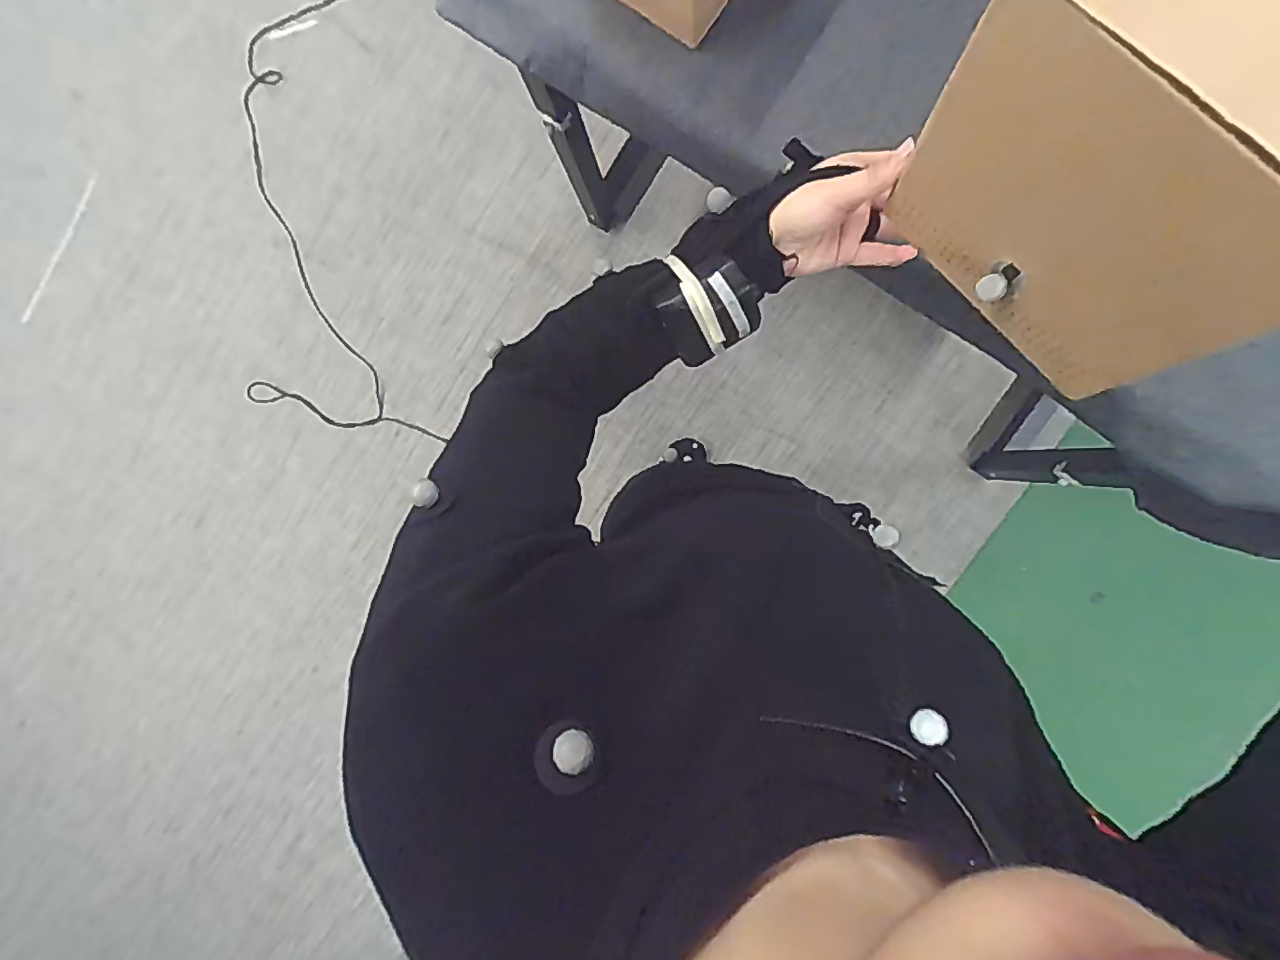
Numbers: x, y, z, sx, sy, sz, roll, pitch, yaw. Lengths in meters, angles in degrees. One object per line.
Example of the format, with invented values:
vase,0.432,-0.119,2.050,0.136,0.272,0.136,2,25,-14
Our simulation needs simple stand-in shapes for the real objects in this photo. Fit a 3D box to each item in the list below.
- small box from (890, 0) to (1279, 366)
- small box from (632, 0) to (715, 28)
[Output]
small box,0.265,-0.177,0.265,0.168,0.176,0.179,-41,82,3
small box,0.033,-0.610,0.533,0.179,0.176,0.168,36,93,3
